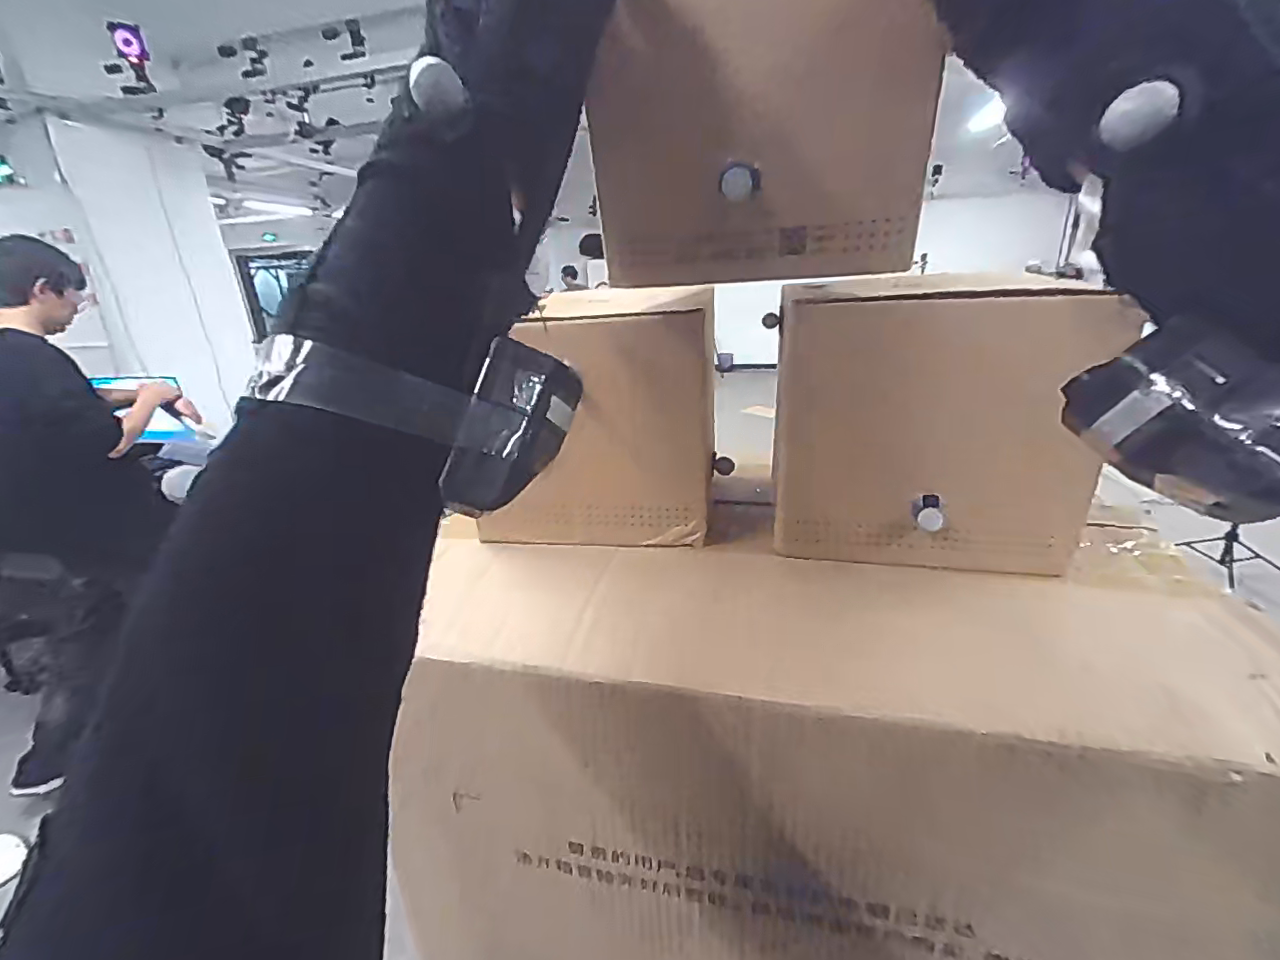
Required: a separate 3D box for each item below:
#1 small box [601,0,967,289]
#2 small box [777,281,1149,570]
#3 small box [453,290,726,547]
[{"bbox_3d":[0.080,-0.224,0.330,0.168,0.176,0.179,2,35,14],"label":"small box"},{"bbox_3d":[0.196,-0.048,0.394,0.179,0.176,0.168,2,22,12],"label":"small box"},{"bbox_3d":[-0.022,-0.058,0.443,0.179,0.176,0.168,2,25,10],"label":"small box"}]
